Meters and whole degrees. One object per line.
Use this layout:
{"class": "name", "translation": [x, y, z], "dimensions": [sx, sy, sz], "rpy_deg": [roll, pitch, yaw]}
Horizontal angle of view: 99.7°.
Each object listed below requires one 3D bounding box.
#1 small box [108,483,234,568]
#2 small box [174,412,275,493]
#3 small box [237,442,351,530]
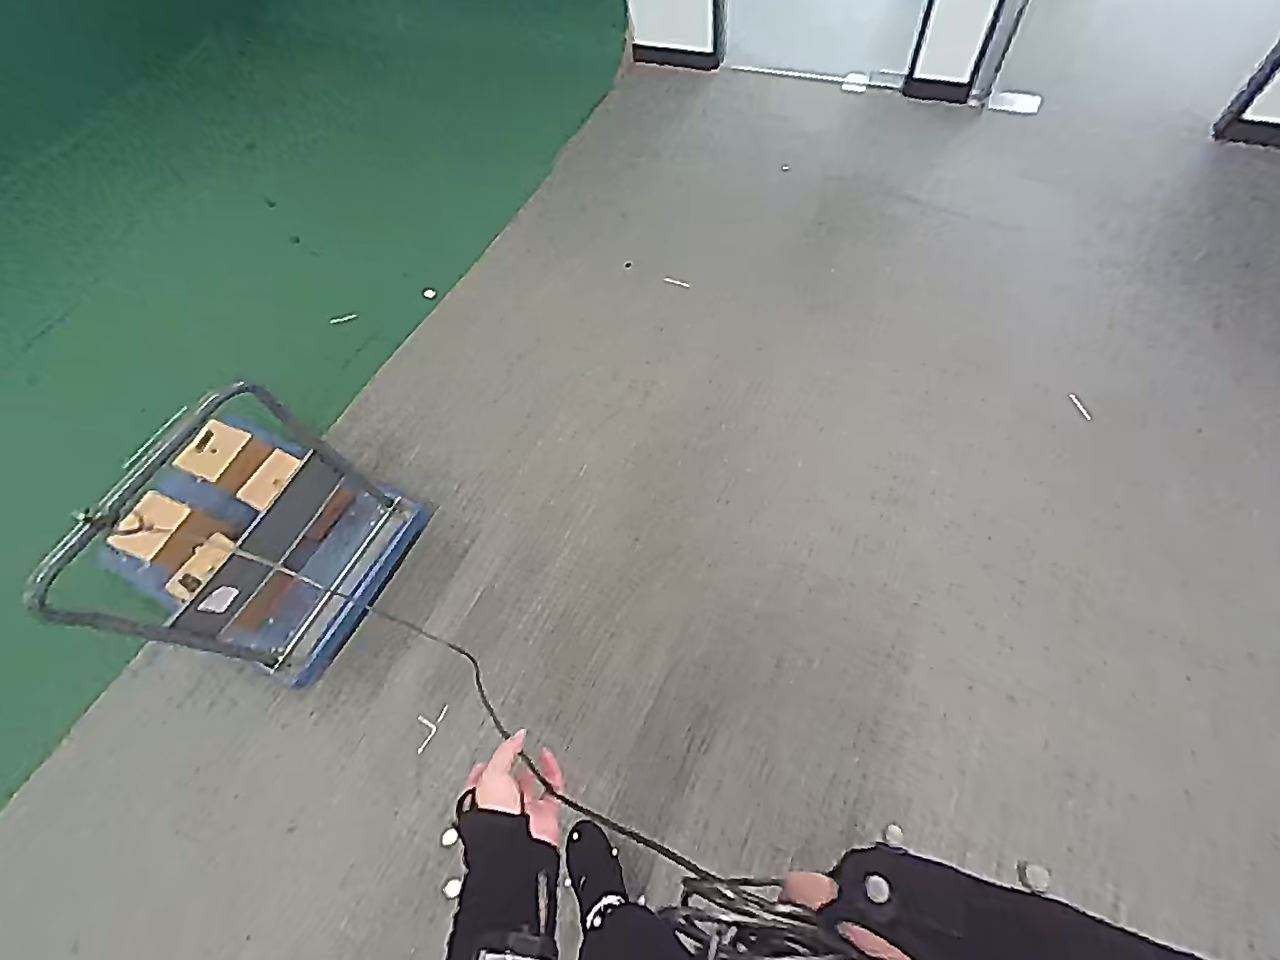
{"class": "small box", "translation": [-1.327, 0.136, 1.546], "dimensions": [0.179, 0.176, 0.168], "rpy_deg": [19, 67, 16]}
{"class": "small box", "translation": [-1.229, -0.076, 1.639], "dimensions": [0.179, 0.176, 0.168], "rpy_deg": [19, 68, 15]}
{"class": "small box", "translation": [-0.990, 0.023, 1.561], "dimensions": [0.179, 0.176, 0.168], "rpy_deg": [24, 69, 17]}
